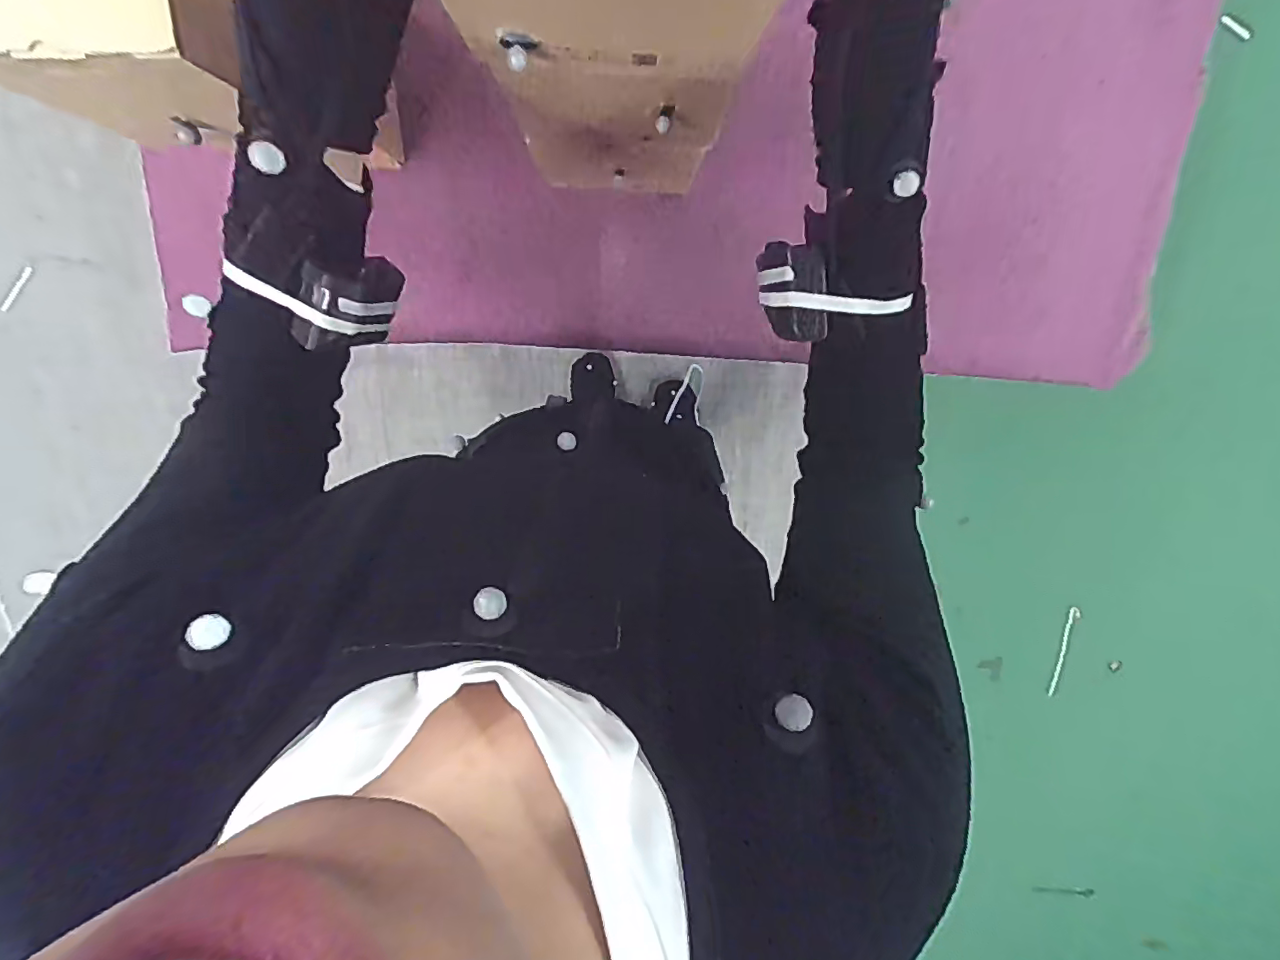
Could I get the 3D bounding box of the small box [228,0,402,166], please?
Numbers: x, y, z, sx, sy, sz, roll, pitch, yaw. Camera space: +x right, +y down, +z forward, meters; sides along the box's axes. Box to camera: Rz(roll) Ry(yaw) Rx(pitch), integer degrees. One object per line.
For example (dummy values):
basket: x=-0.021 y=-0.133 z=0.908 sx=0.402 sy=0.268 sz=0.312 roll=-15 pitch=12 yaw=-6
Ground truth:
small box: x=-0.355 y=-0.428 z=0.528 sx=0.168 sy=0.176 sz=0.179 roll=-2 pitch=107 yaw=-1

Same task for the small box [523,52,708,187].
small box: x=-0.019 y=-0.406 z=0.542 sx=0.168 sy=0.176 sz=0.179 roll=0 pitch=105 yaw=0

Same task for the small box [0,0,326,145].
small box: x=-0.353 y=-0.360 z=0.377 sx=0.168 sy=0.176 sz=0.179 roll=0 pitch=107 yaw=-1
